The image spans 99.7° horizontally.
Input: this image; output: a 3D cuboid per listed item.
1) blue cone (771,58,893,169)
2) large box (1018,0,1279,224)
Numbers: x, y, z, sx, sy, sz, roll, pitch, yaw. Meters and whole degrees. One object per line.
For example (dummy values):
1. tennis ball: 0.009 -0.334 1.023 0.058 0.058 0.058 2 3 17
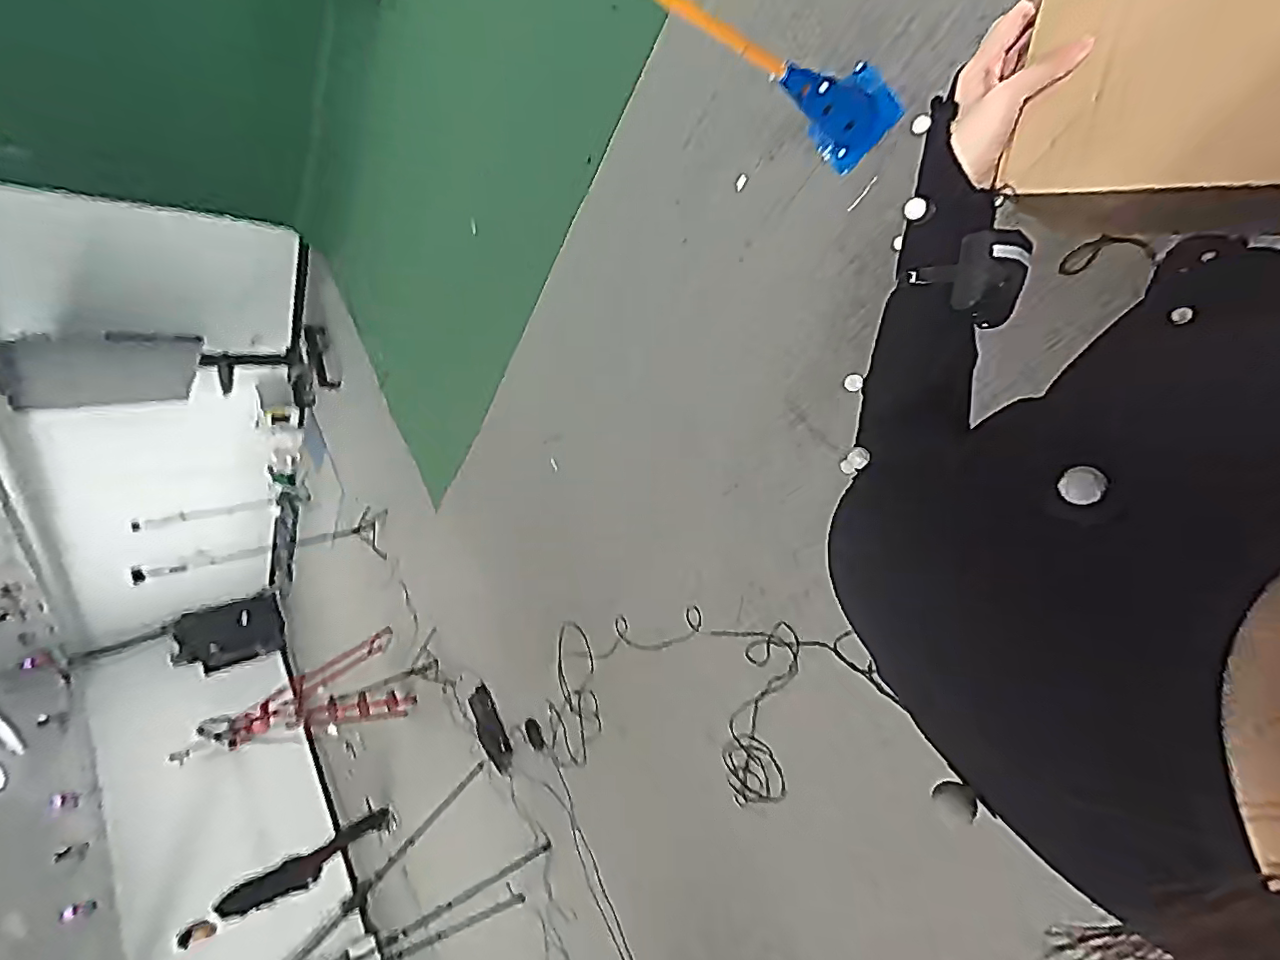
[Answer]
1. blue cone: 0.443 -0.940 1.331 0.193 0.380 0.192 -39 70 43
2. large box: 0.543 -0.358 0.354 0.408 0.320 0.320 20 117 37
